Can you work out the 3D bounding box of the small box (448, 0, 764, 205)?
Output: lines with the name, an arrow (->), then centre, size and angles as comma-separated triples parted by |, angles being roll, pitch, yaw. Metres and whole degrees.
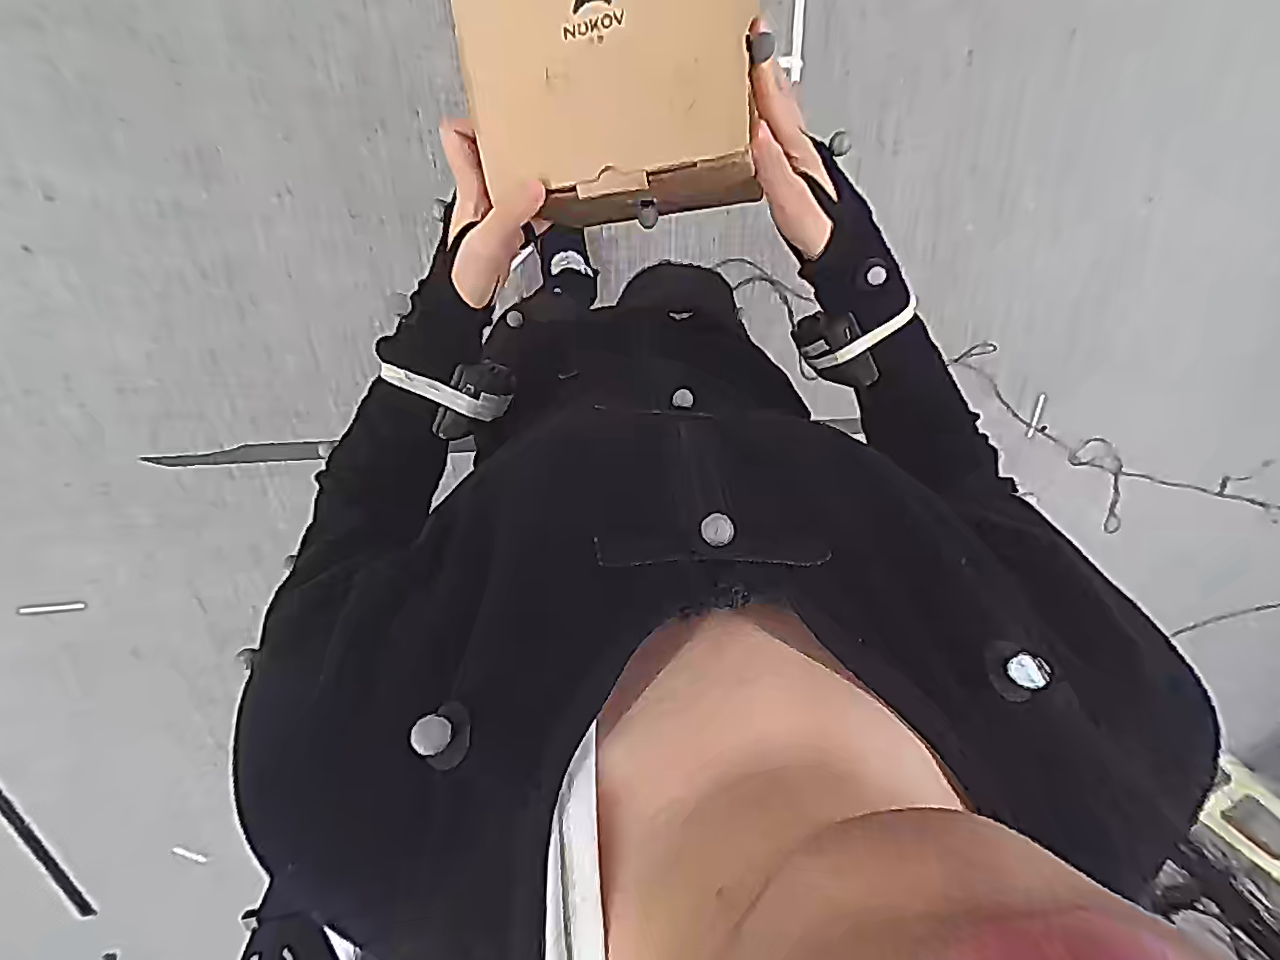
small box -> -0.008, -0.291, 0.354 | 0.168, 0.176, 0.179 | -2, 108, 15
